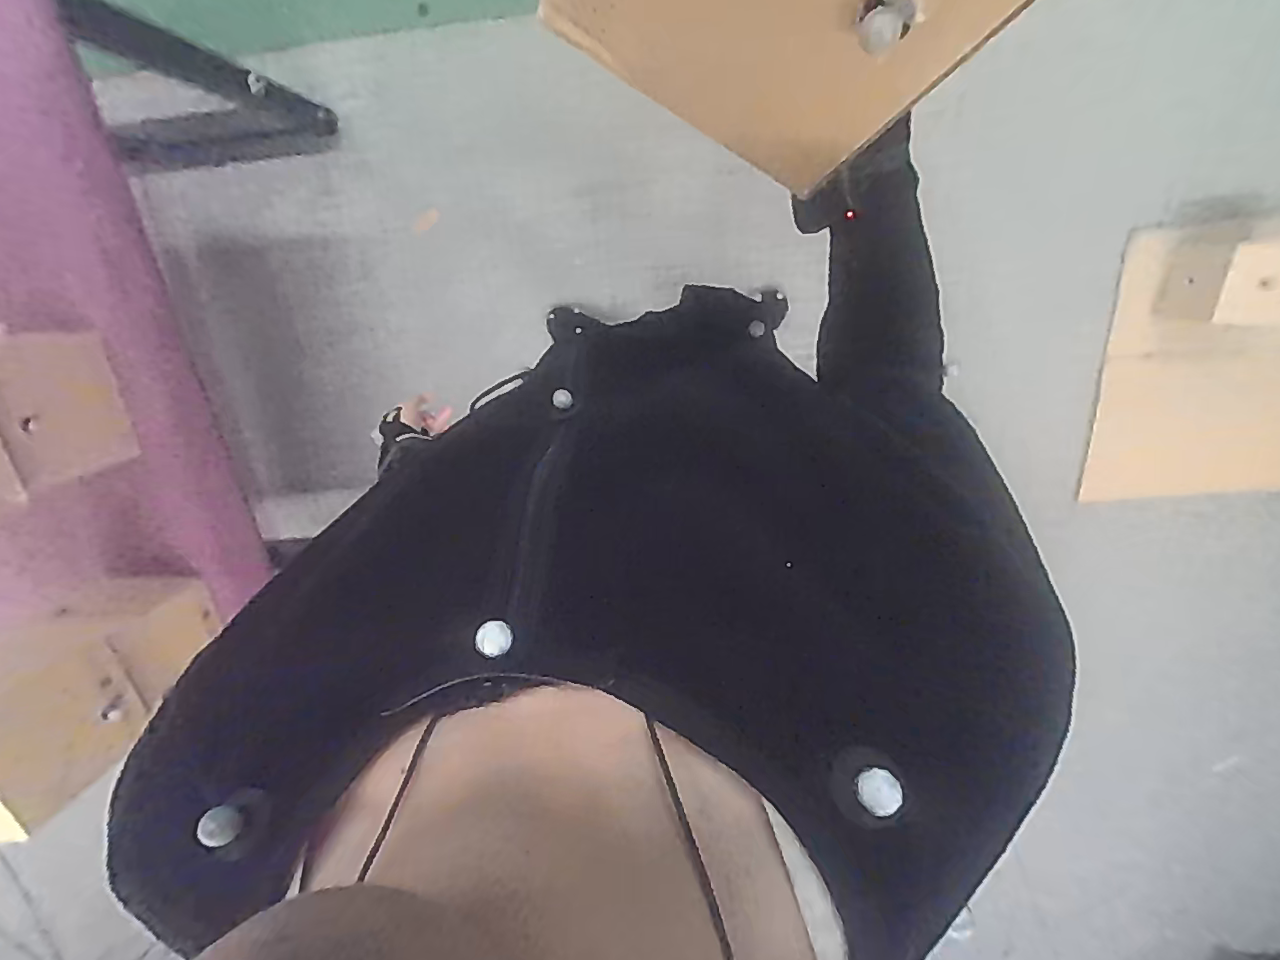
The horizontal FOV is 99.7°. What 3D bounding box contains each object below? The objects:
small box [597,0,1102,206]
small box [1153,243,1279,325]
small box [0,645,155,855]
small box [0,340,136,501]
[{"bbox_3d":[0.091,-0.266,0.221,0.176,0.179,0.168,22,77,-19],"label":"small box"},{"bbox_3d":[1.331,-0.442,1.221,0.179,0.176,0.168,1,111,3],"label":"small box"},{"bbox_3d":[-0.776,0.324,0.667,0.179,0.176,0.168,-7,110,6],"label":"small box"},{"bbox_3d":[-0.815,-0.080,0.693,0.168,0.176,0.179,-1,110,4],"label":"small box"}]
